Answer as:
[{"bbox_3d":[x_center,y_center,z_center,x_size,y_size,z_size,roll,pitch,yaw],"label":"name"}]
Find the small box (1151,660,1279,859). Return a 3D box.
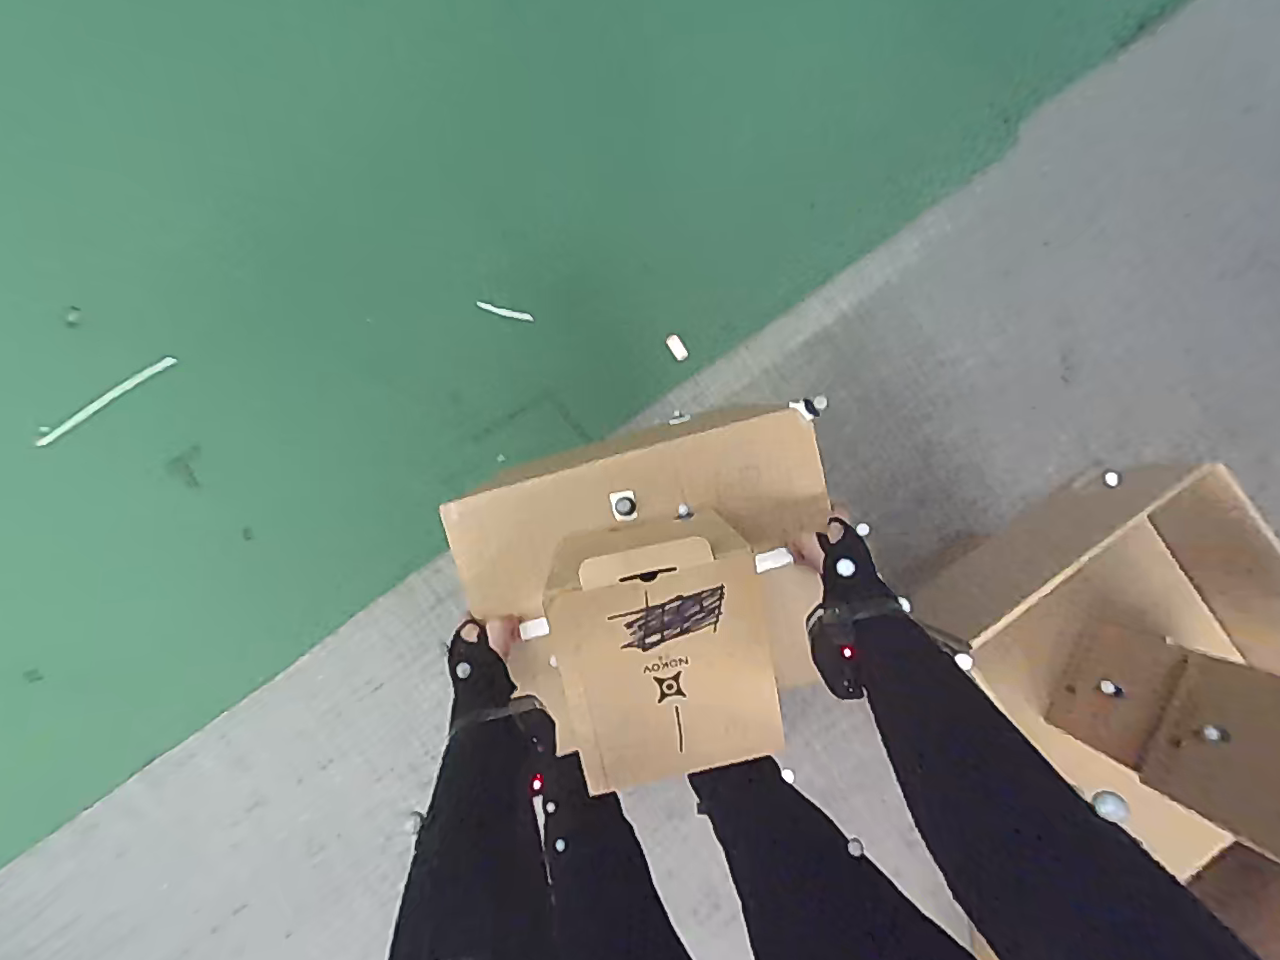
[{"bbox_3d":[0.677,0.300,0.525,0.179,0.176,0.168,25,88,-1],"label":"small box"}]

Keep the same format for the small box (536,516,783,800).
[{"bbox_3d":[0.012,0.139,0.490,0.168,0.176,0.179,-13,100,-2],"label":"small box"}]
